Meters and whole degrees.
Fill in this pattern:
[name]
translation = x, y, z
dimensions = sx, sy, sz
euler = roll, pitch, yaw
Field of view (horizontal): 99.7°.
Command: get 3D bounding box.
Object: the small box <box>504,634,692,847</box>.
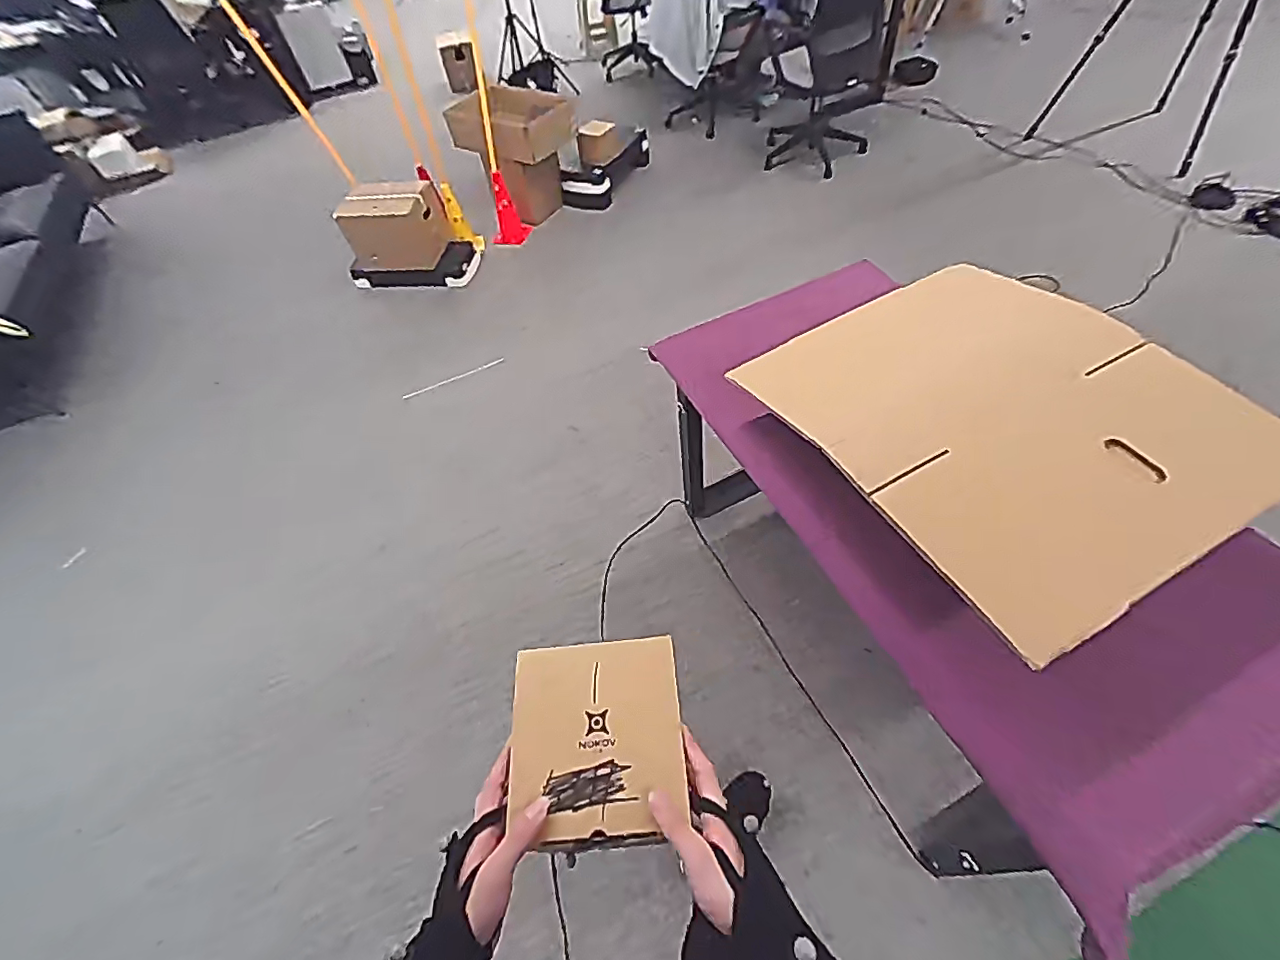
[small box]
translation = -0.035, 0.283, 0.577
dimensions = 0.168, 0.176, 0.179
euler = -5, 53, 1
